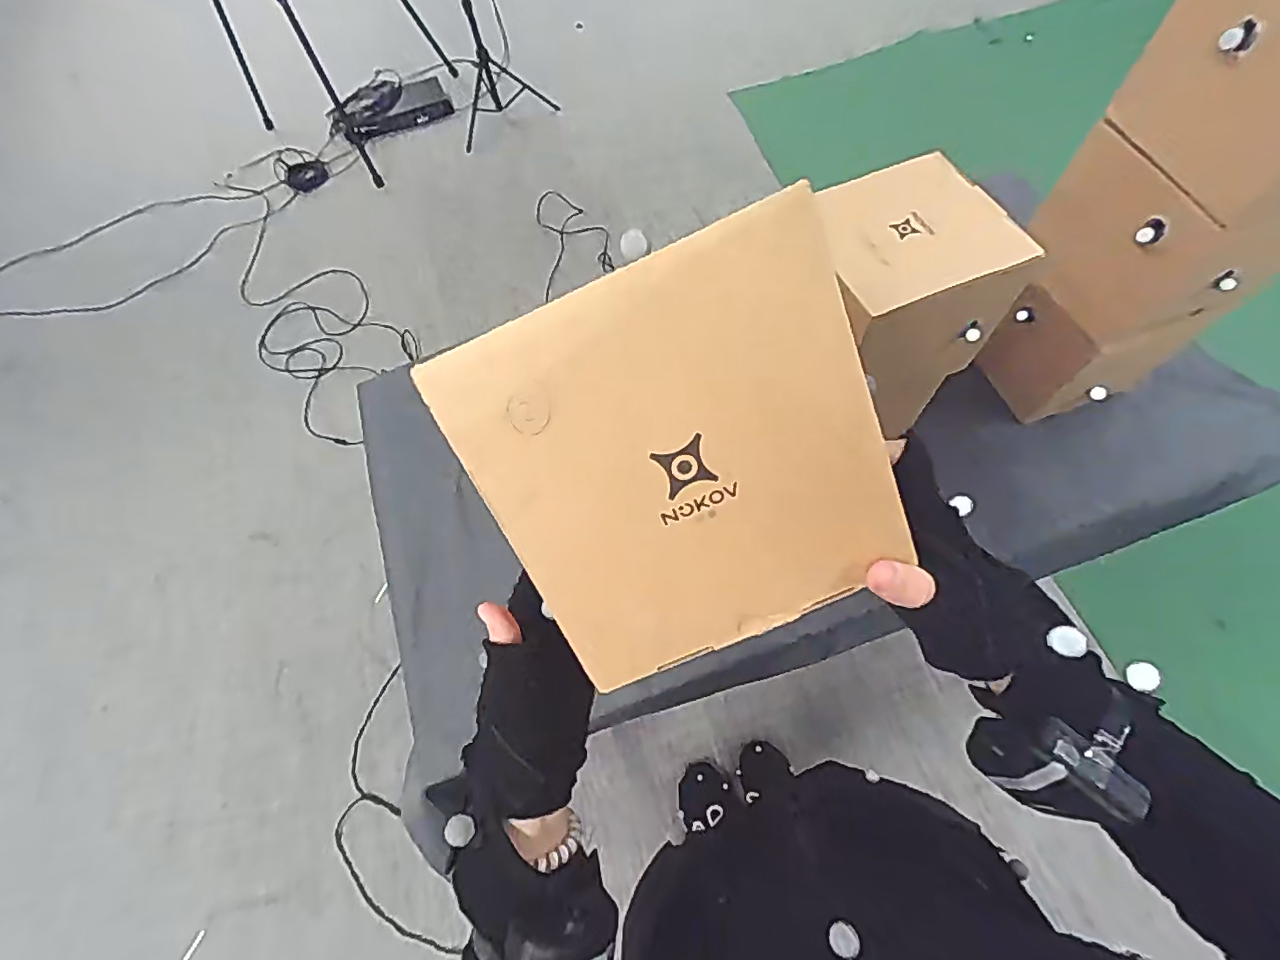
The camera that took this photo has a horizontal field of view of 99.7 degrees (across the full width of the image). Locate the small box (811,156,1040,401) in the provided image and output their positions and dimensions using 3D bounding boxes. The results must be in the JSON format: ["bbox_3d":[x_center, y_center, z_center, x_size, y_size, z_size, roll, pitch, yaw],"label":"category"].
[{"bbox_3d":[0.260,-0.200,0.584,0.179,0.176,0.168,-21,63,-4],"label":"small box"}]

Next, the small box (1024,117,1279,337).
[{"bbox_3d":[0.571,-0.279,0.588,0.168,0.176,0.179,-17,64,-2],"label":"small box"}]

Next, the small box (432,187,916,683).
[{"bbox_3d":[0.017,-0.031,0.309,0.168,0.179,0.176,-24,20,5],"label":"small box"}]
